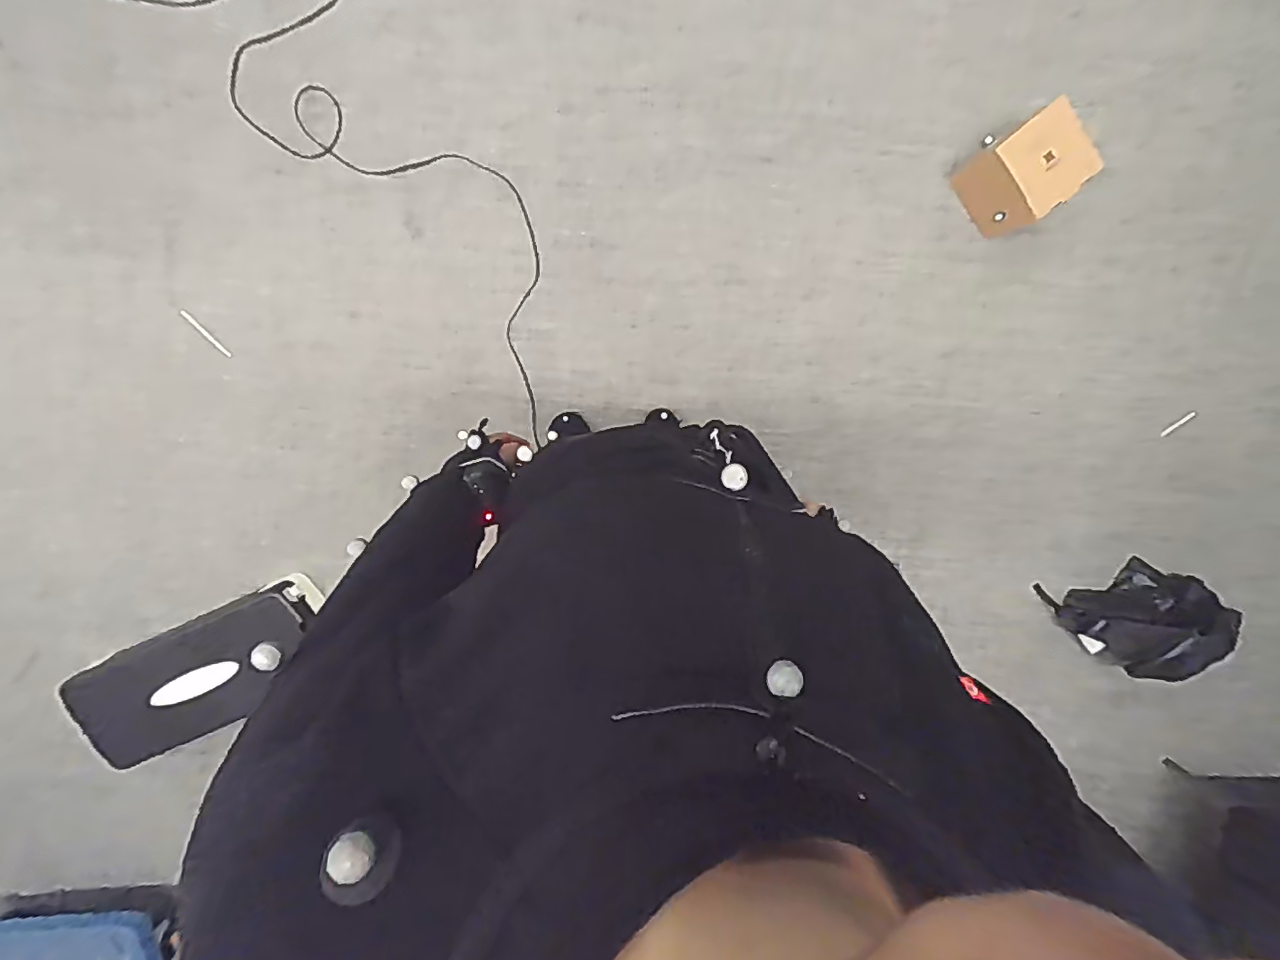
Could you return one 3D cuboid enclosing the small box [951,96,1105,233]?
[{"bbox_3d":[0.827,-0.662,1.168,0.168,0.176,0.179,-40,99,5],"label":"small box"}]
